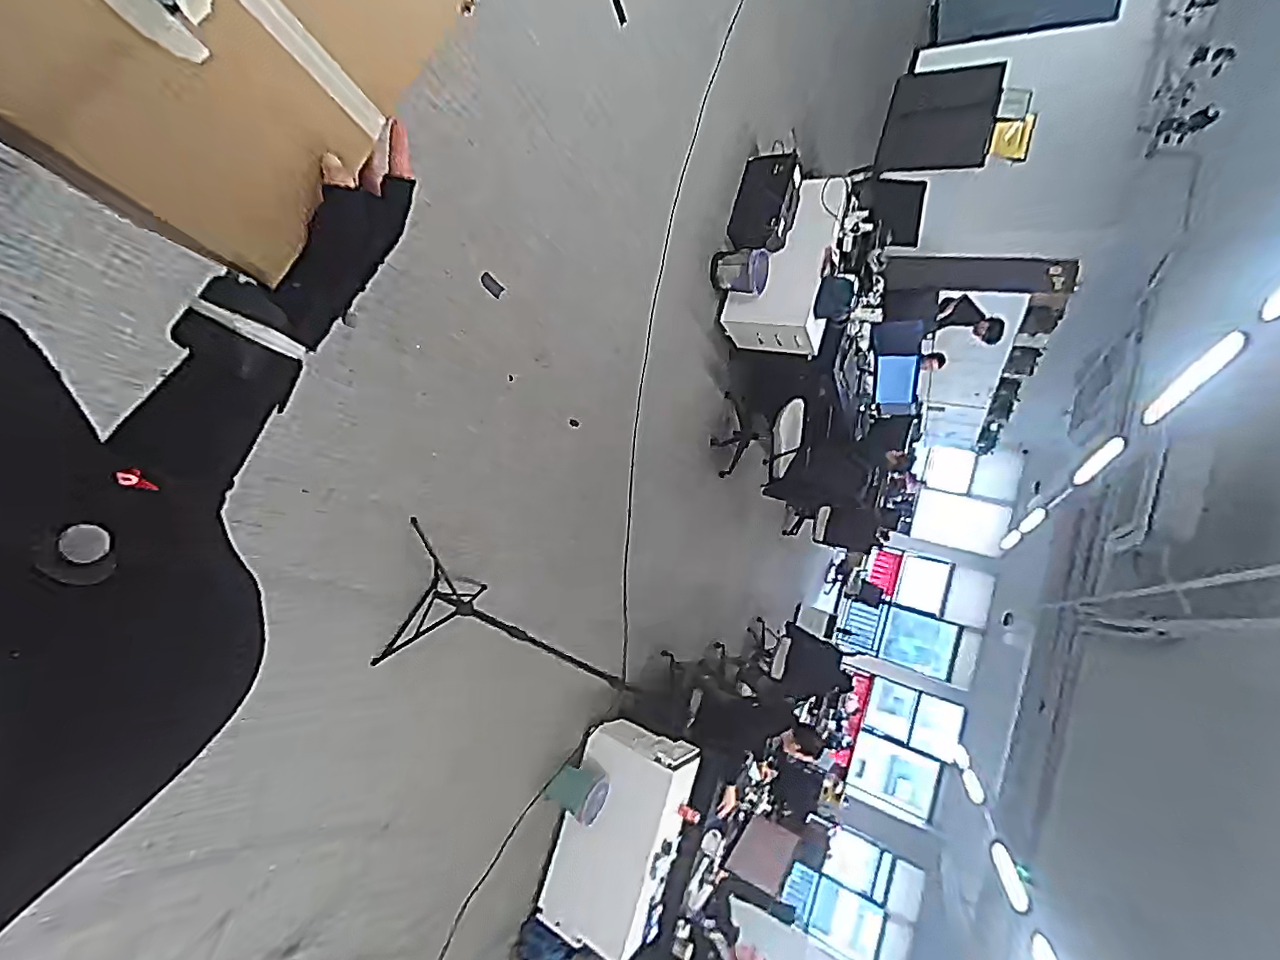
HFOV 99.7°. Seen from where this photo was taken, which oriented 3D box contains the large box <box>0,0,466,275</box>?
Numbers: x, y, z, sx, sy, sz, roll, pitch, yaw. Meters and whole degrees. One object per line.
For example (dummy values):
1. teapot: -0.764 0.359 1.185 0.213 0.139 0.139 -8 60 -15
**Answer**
1. large box: -0.416 -0.414 0.360 0.320 0.320 0.408 -60 150 -5
